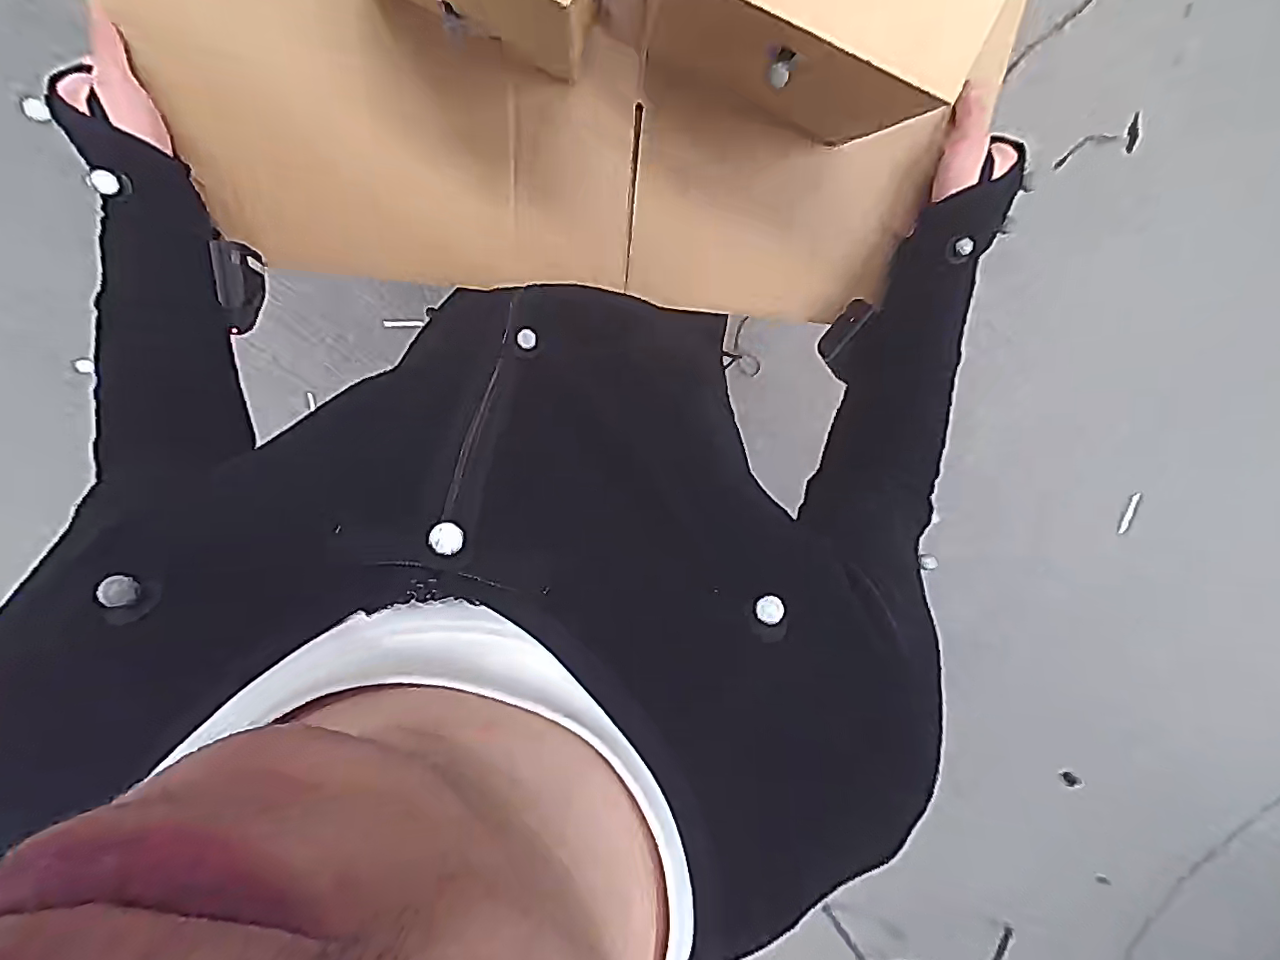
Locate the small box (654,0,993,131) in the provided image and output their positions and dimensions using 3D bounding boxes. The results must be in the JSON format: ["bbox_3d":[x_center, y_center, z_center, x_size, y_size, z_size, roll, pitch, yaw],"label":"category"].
[{"bbox_3d":[0.120,-0.348,0.344,0.179,0.176,0.168,17,113,-11],"label":"small box"}]
